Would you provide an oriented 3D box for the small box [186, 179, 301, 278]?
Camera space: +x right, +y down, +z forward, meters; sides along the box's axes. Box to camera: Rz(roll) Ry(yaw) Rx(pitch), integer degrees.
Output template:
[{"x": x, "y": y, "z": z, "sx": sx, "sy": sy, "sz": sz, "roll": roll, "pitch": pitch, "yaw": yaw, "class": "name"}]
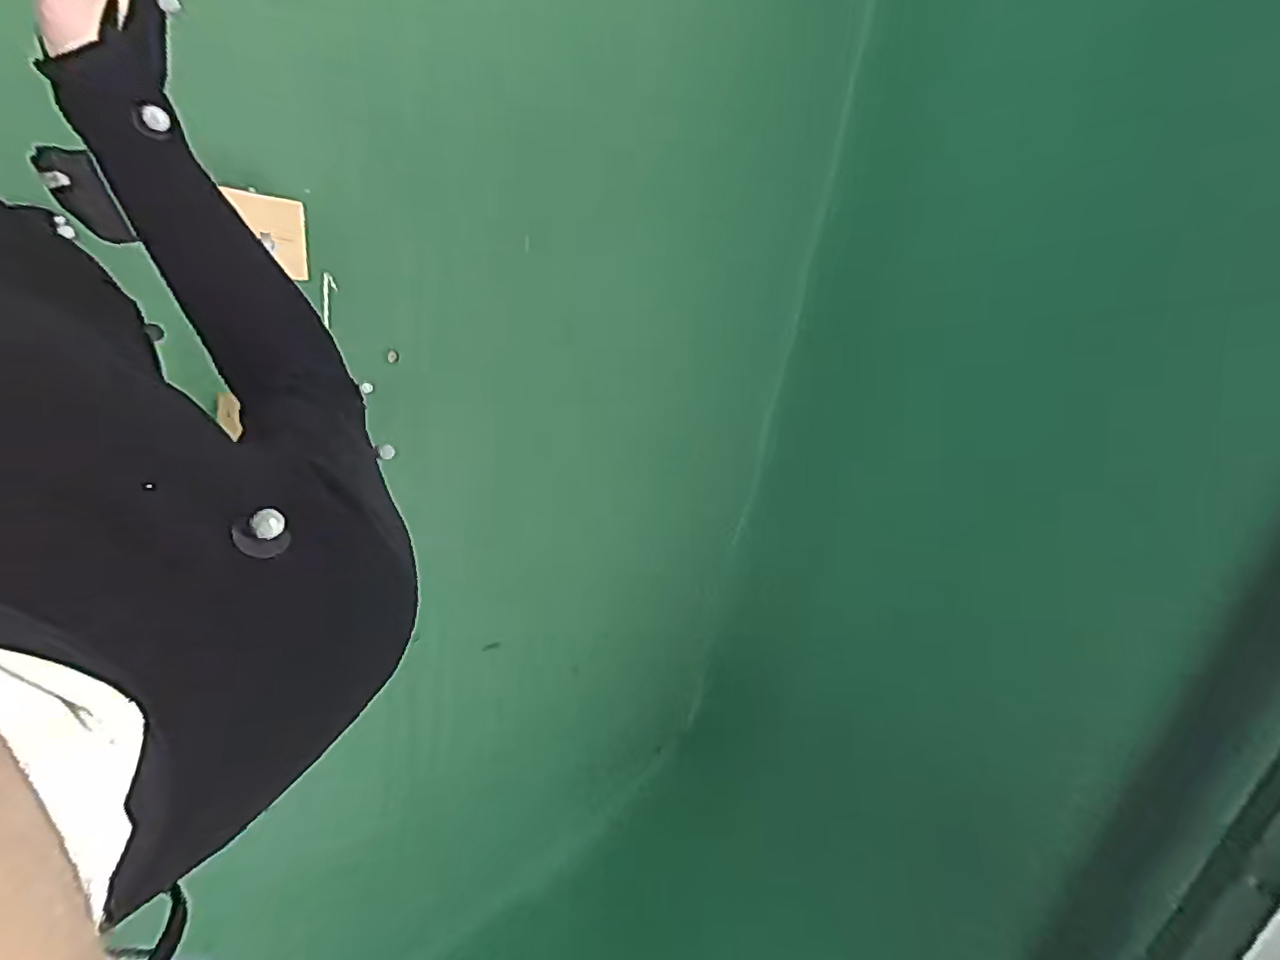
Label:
[{"x": -0.879, "y": -0.551, "z": 1.195, "sx": 0.179, "sy": 0.176, "sz": 0.168, "roll": -12, "pitch": 118, "yaw": -46, "class": "small box"}]
